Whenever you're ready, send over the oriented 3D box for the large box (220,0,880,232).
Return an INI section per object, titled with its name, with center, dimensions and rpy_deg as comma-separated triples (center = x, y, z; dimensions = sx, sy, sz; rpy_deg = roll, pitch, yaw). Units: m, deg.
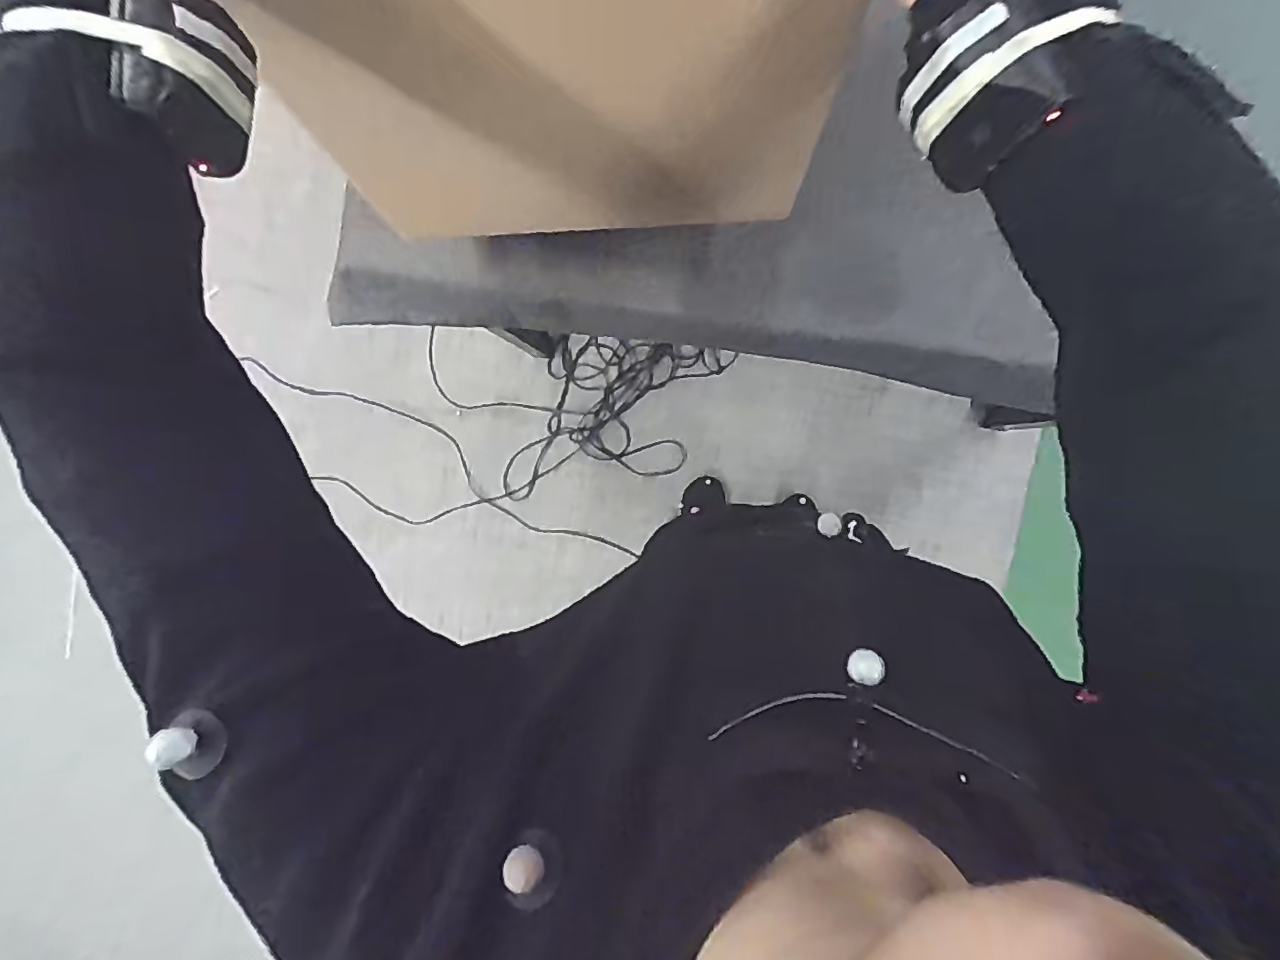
[large box]
center = -0.054, -0.425, 0.414
dimensions = 0.408, 0.320, 0.320
rpy_deg = -2, 85, 2
